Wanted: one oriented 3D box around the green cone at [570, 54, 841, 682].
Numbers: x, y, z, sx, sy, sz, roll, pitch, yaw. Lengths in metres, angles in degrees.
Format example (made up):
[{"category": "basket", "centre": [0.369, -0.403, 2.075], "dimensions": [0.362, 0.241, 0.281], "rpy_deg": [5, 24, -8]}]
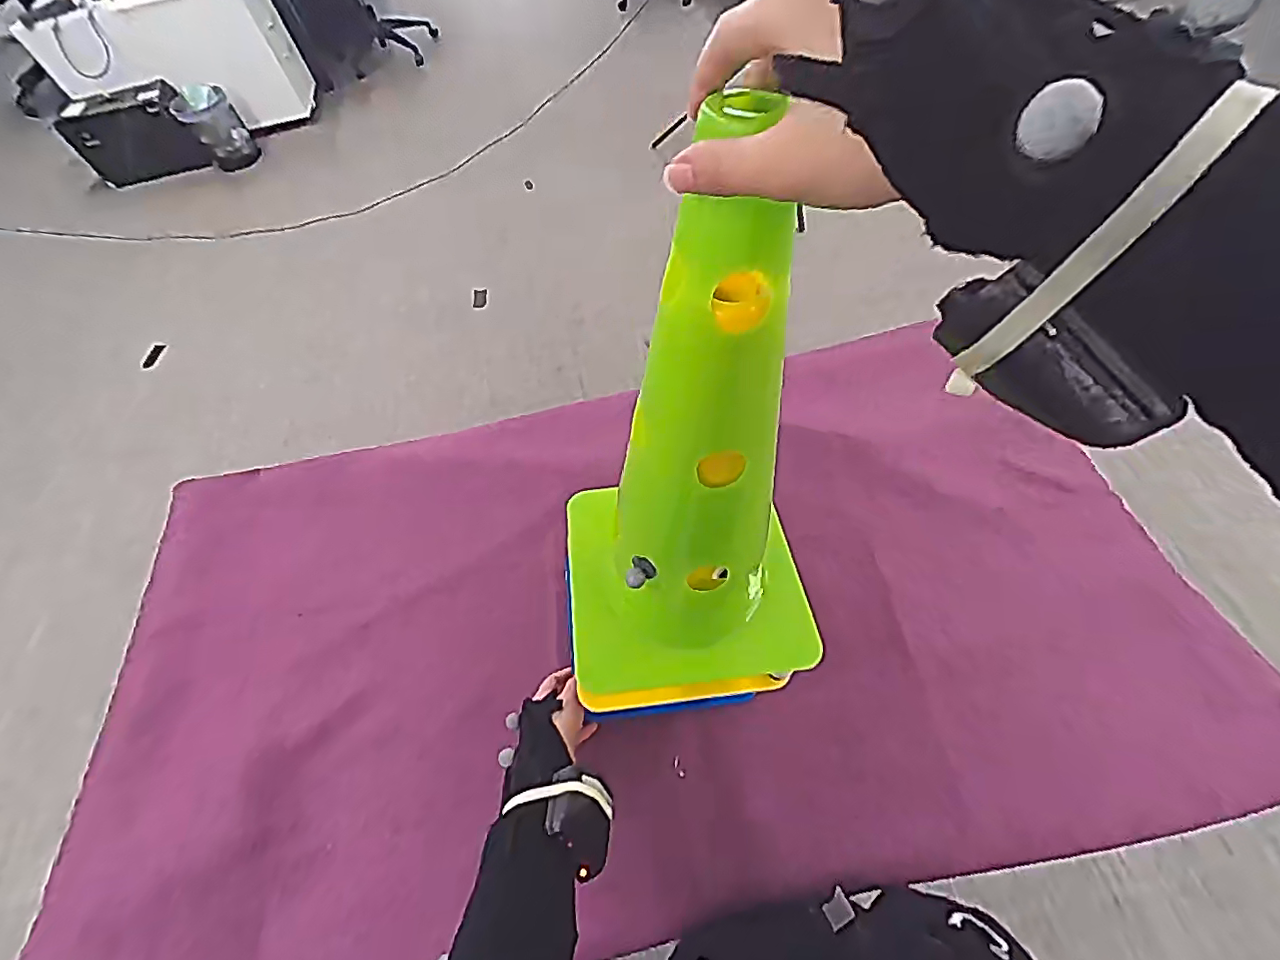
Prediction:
[{"category": "green cone", "centre": [0.045, -0.040, 0.340], "dimensions": [0.200, 0.368, 0.202], "rpy_deg": [-5, 51, -6]}]
